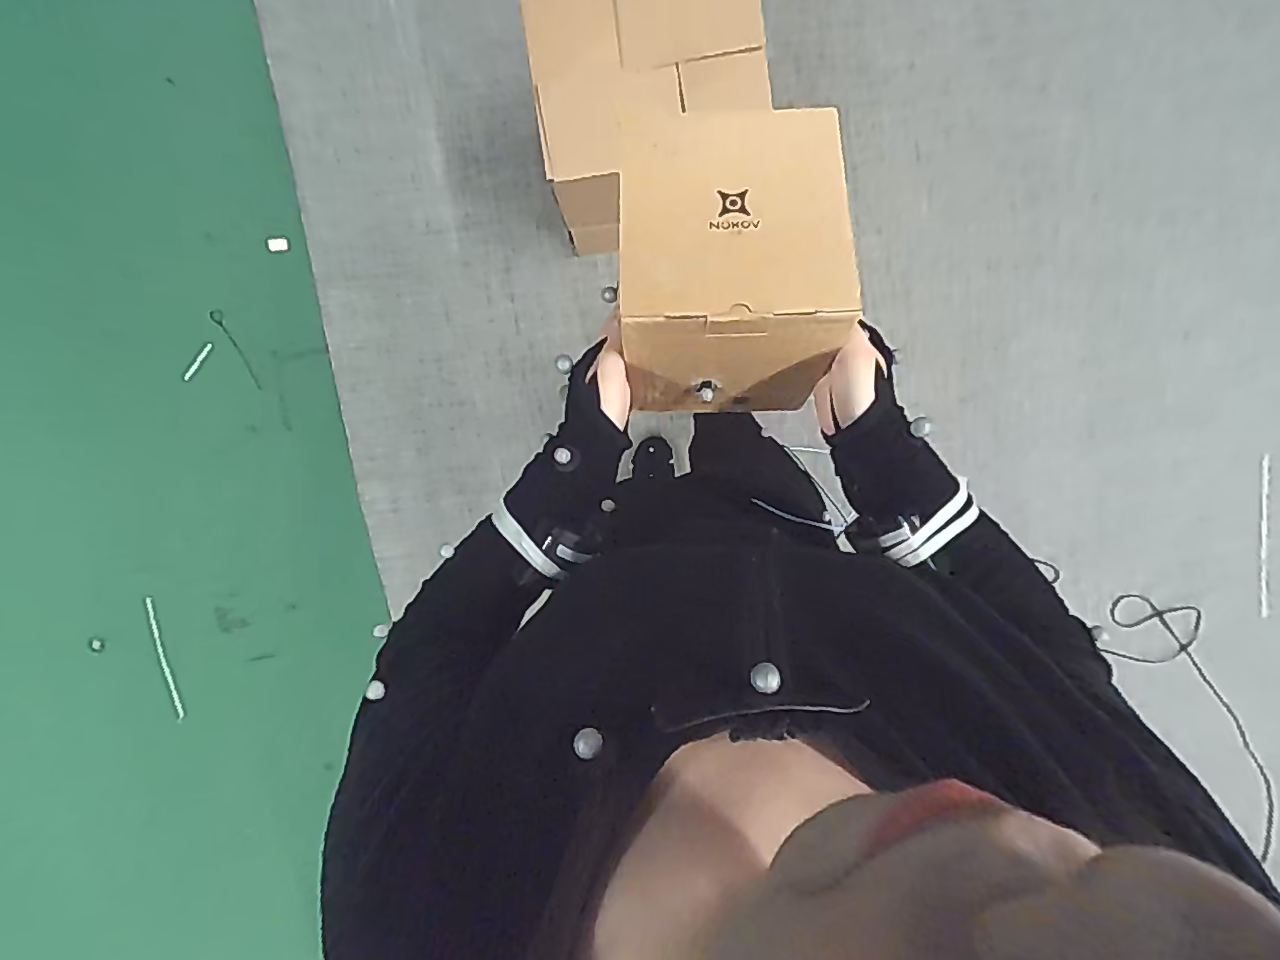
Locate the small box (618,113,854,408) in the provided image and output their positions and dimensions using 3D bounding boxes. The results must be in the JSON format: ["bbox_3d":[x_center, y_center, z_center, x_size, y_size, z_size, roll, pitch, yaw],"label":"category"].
[{"bbox_3d":[0.066,-0.175,0.468,0.168,0.176,0.179,-1,76,1],"label":"small box"}]
